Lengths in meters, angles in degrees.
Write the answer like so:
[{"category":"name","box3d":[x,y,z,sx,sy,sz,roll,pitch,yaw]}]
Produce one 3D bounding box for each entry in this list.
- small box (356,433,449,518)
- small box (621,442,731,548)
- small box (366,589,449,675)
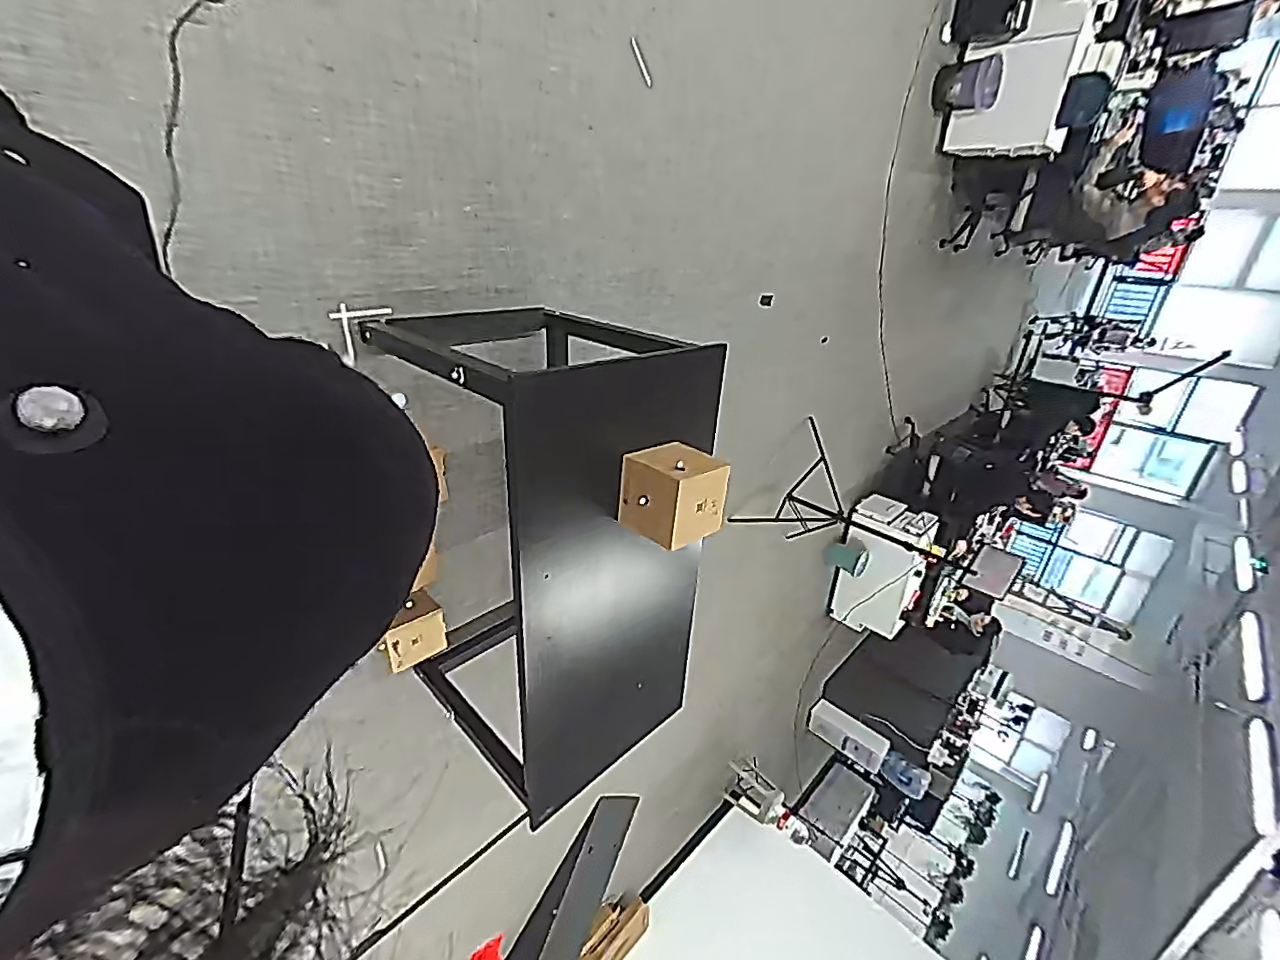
[{"category":"small box","box3d":[-0.662,-0.021,1.511,0.179,0.176,0.168,-21,124,-40]},{"category":"small box","box3d":[0.076,0.026,1.205,0.179,0.176,0.168,-18,123,-43]},{"category":"small box","box3d":[-0.726,0.462,1.690,0.179,0.176,0.168,-22,124,-41]}]
